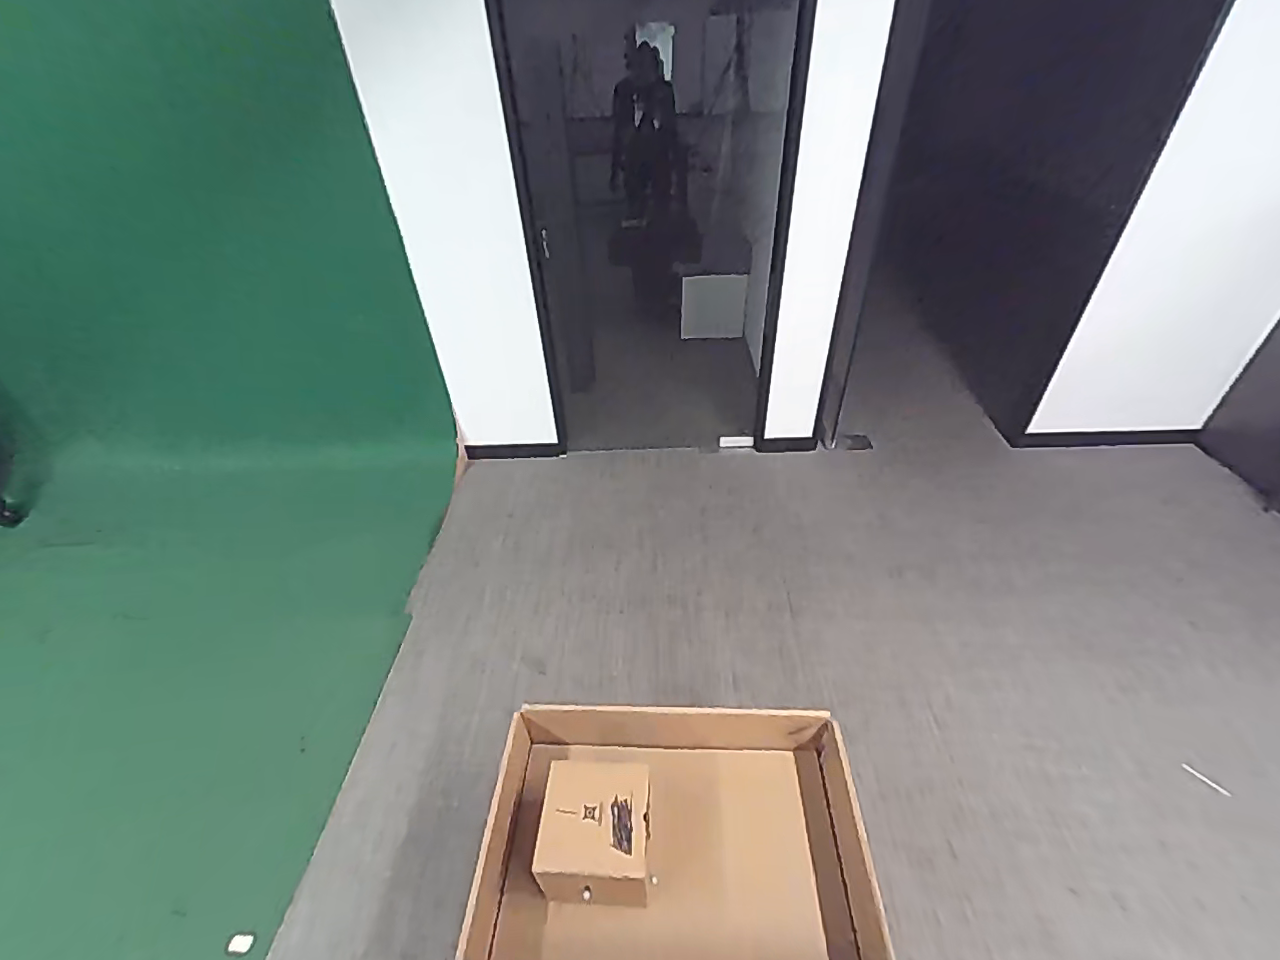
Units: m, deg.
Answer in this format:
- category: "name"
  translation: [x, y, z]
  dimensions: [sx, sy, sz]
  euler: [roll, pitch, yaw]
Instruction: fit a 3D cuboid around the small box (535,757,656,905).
- category: "small box"
  translation: [-0.064, 0.598, 0.920]
  dimensions: [0.179, 0.176, 0.168]
  euler: [0, 39, 5]
